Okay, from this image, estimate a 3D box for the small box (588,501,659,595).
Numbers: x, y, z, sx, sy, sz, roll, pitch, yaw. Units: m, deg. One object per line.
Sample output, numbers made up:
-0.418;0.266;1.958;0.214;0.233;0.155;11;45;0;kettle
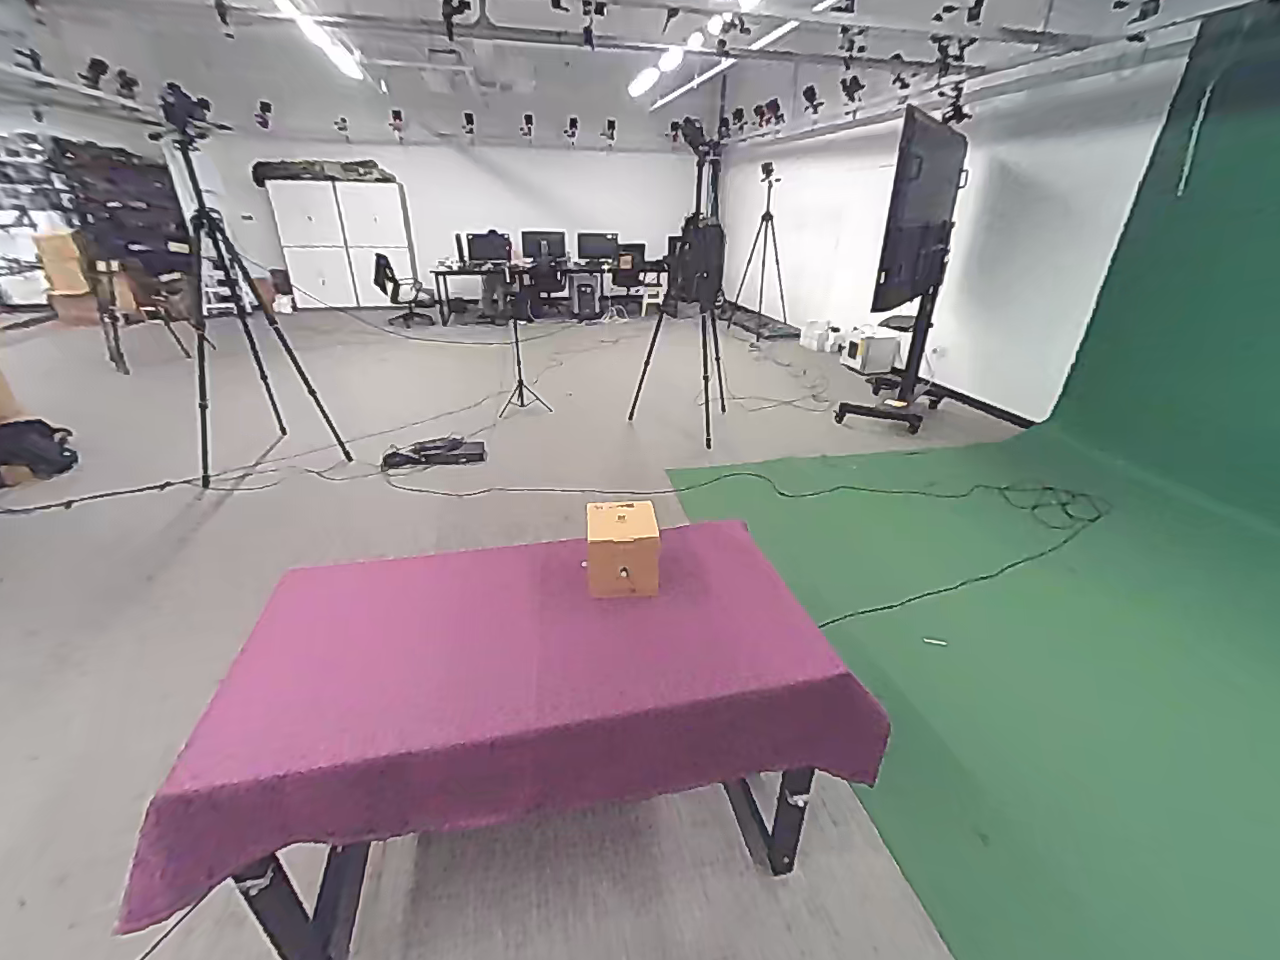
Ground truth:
-0.042;0.168;1.325;0.168;0.176;0.179;-2;28;-5;small box
